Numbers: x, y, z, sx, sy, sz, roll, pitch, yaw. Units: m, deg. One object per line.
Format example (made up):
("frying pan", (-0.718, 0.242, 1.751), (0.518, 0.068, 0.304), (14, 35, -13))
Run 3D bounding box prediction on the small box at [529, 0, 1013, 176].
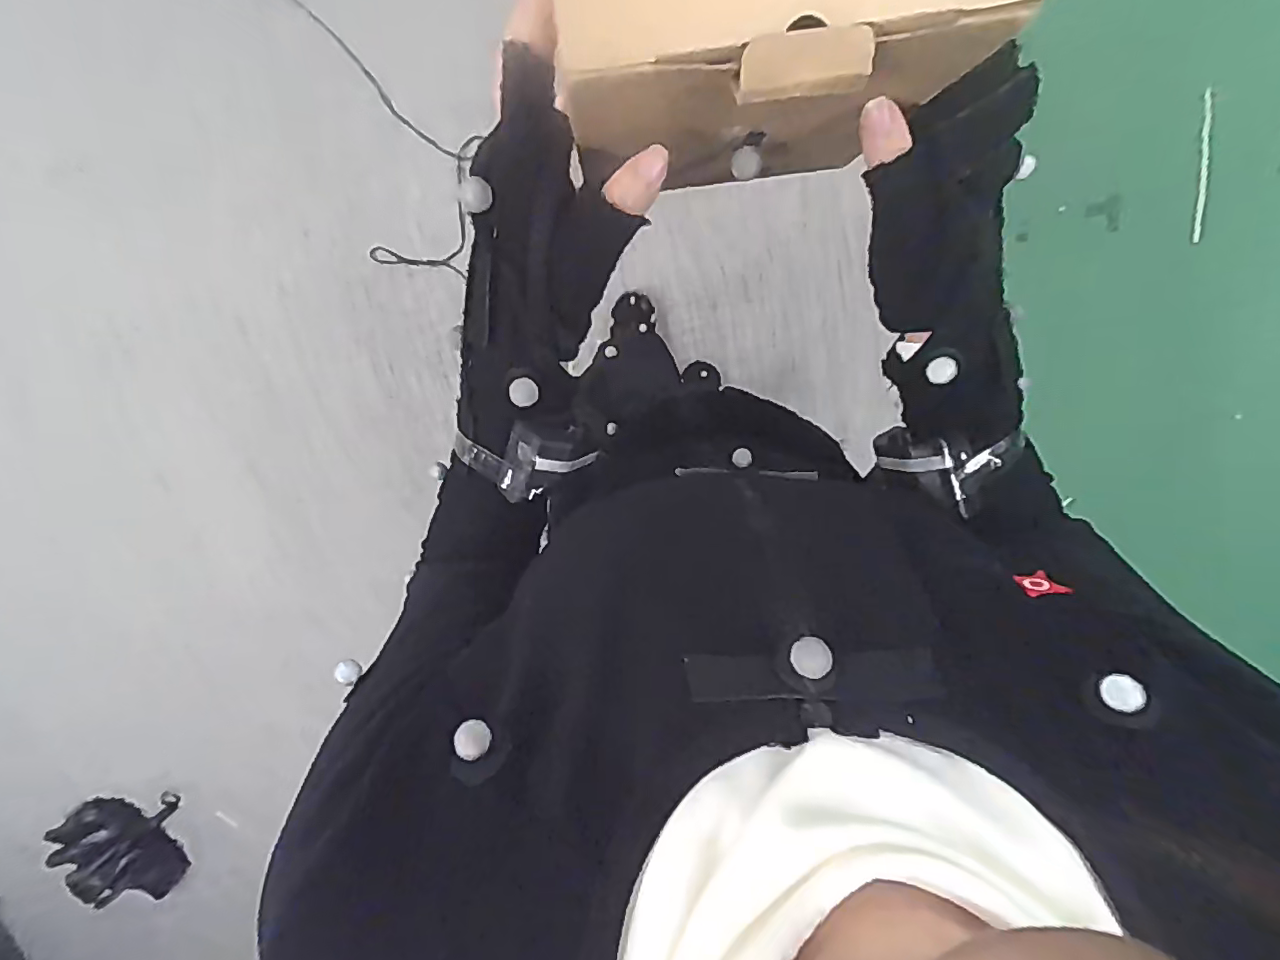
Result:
("small box", (0.036, -0.251, 0.237), (0.168, 0.176, 0.179), (-7, 105, 0))
